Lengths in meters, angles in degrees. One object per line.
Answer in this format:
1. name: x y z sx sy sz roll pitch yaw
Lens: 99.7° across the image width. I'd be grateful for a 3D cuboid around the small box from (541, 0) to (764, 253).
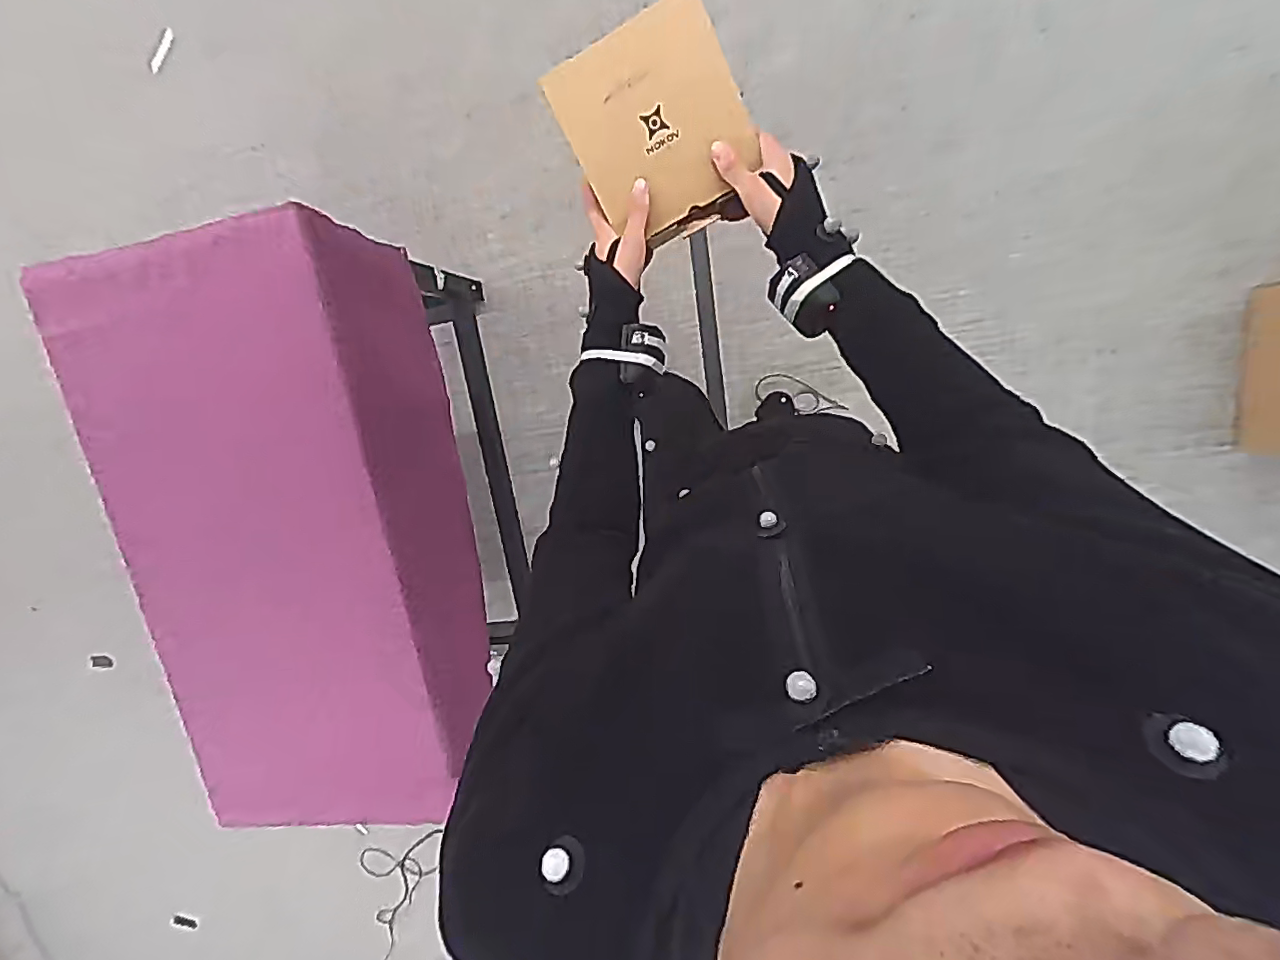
1. small box: 0.018 -0.370 0.598 0.168 0.176 0.179 -26 106 10
